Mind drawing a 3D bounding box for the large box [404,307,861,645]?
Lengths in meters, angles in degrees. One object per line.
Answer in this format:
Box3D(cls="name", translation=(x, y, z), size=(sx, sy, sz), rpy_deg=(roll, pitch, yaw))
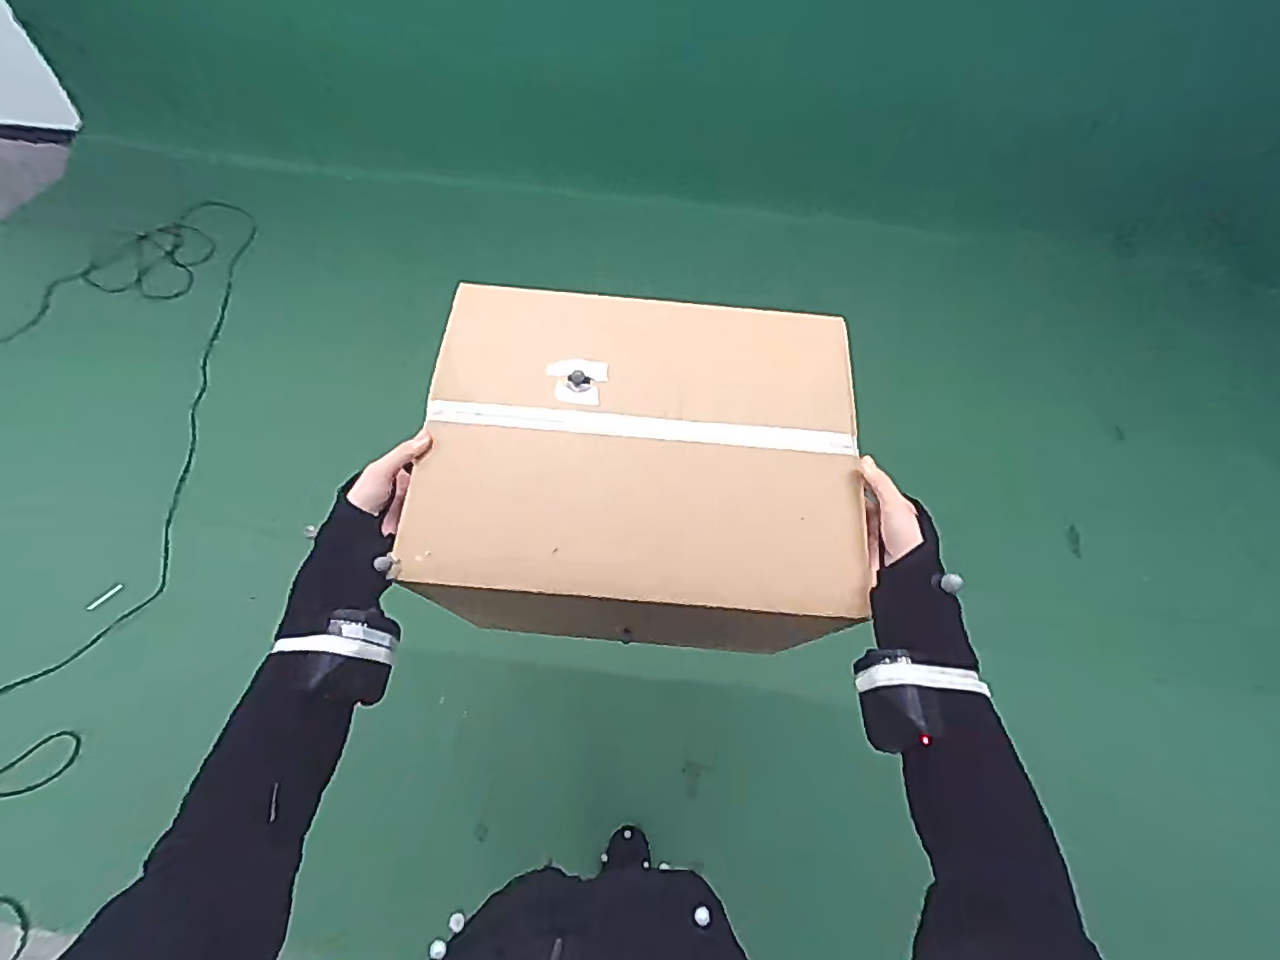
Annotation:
Box3D(cls="large box", translation=(0.000, 0.022, 0.658), size=(0.408, 0.320, 0.320), rpy_deg=(4, 66, 0))
